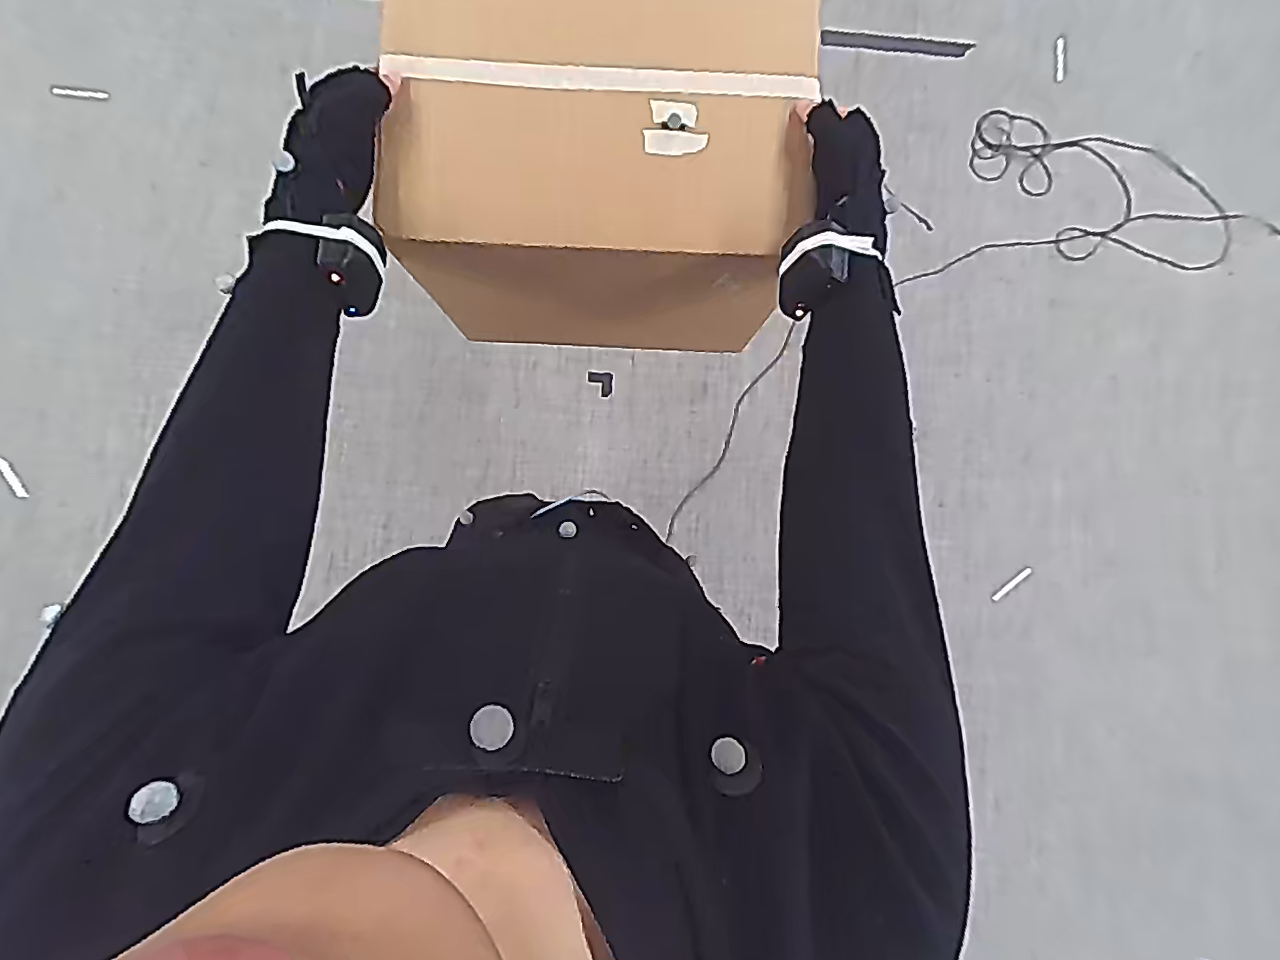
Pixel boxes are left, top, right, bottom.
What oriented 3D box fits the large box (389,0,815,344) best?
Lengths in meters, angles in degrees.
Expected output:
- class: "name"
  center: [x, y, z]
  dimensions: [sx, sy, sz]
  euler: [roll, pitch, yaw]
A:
- class: "large box"
  center: [-0.040, -0.364, 0.659]
  dimensions: [0.408, 0.320, 0.320]
  euler: [2, 88, -3]
